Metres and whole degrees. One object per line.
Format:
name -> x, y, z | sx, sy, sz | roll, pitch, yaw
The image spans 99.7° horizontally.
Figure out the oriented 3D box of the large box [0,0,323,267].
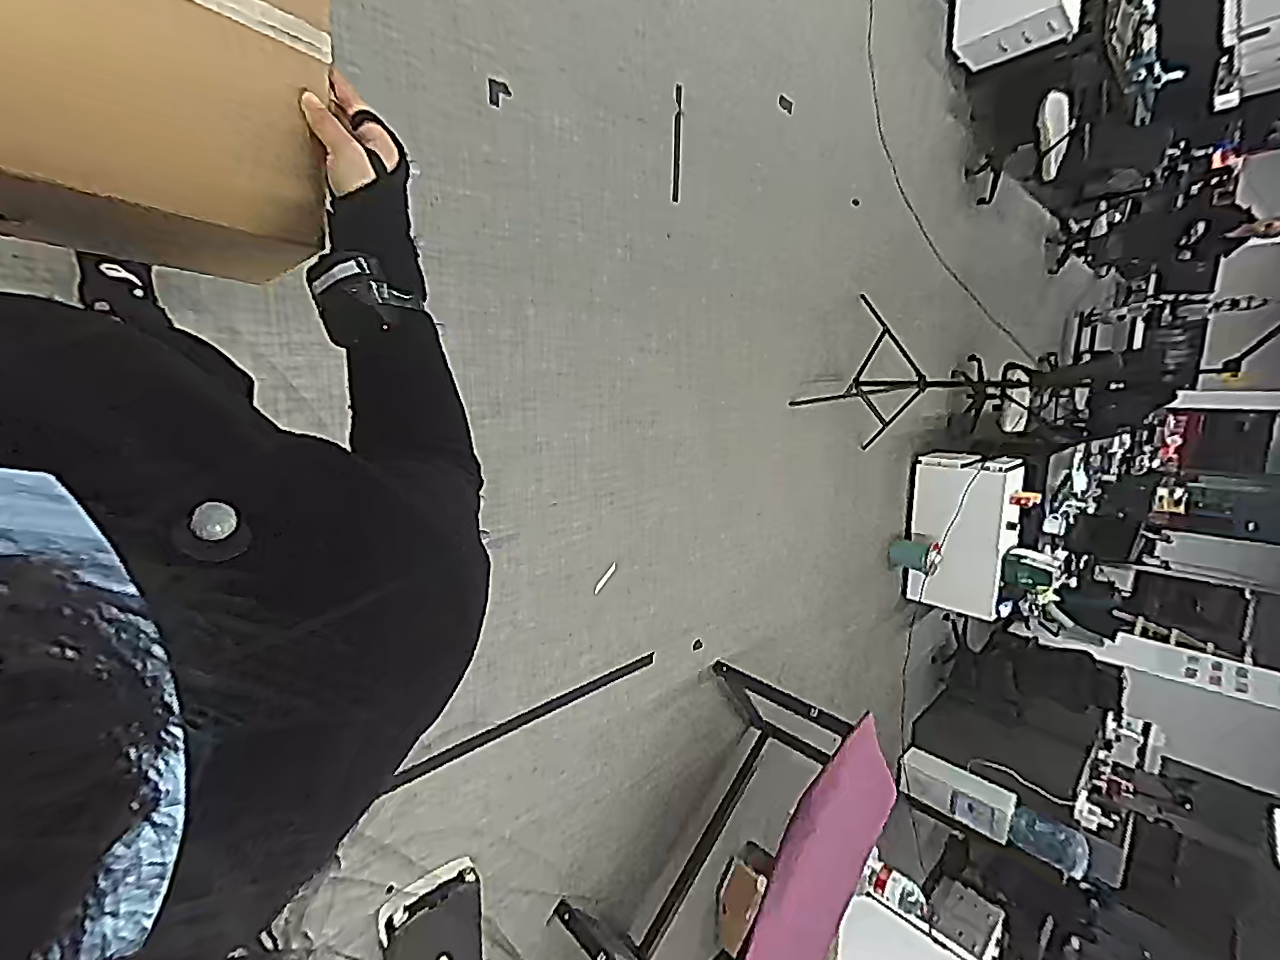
large box -> -0.514, -0.384, 0.430 | 0.408, 0.320, 0.320 | -2, 100, -43
